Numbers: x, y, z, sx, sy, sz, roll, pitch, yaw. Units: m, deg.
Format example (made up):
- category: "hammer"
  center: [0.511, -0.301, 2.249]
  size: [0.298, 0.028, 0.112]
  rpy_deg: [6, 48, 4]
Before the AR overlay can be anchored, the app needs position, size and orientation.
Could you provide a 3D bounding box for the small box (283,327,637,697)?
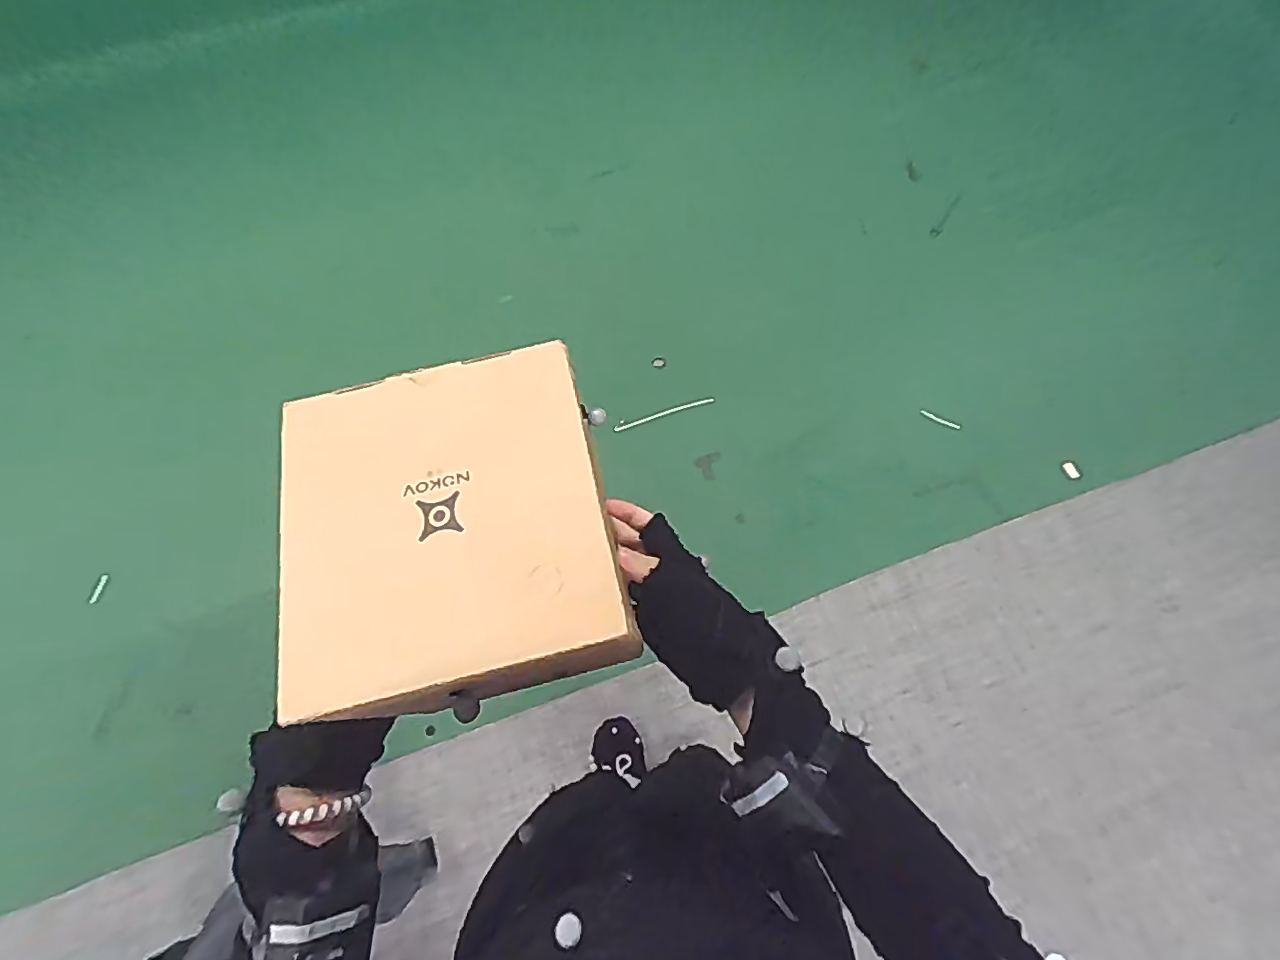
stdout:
- category: "small box"
  center: [-0.101, 0.034, 0.360]
  size: [0.168, 0.176, 0.179]
  rpy_deg: [-13, 68, -3]
